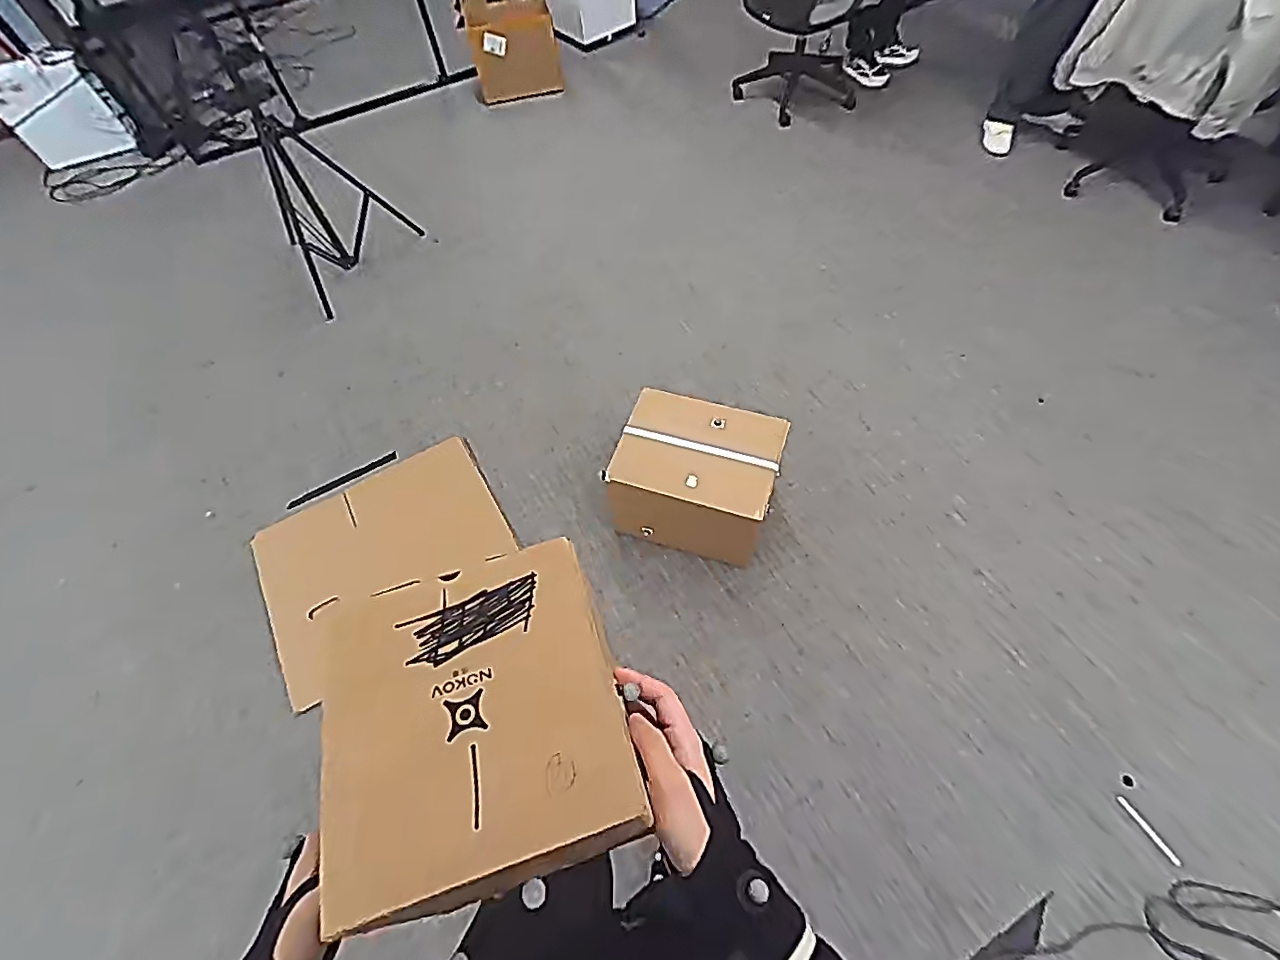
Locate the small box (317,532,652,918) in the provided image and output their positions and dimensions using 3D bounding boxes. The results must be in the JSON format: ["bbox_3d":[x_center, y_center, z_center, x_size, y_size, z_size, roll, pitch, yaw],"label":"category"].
[{"bbox_3d":[-0.096,0.169,0.380,0.168,0.176,0.179,-17,56,-7],"label":"small box"}]
